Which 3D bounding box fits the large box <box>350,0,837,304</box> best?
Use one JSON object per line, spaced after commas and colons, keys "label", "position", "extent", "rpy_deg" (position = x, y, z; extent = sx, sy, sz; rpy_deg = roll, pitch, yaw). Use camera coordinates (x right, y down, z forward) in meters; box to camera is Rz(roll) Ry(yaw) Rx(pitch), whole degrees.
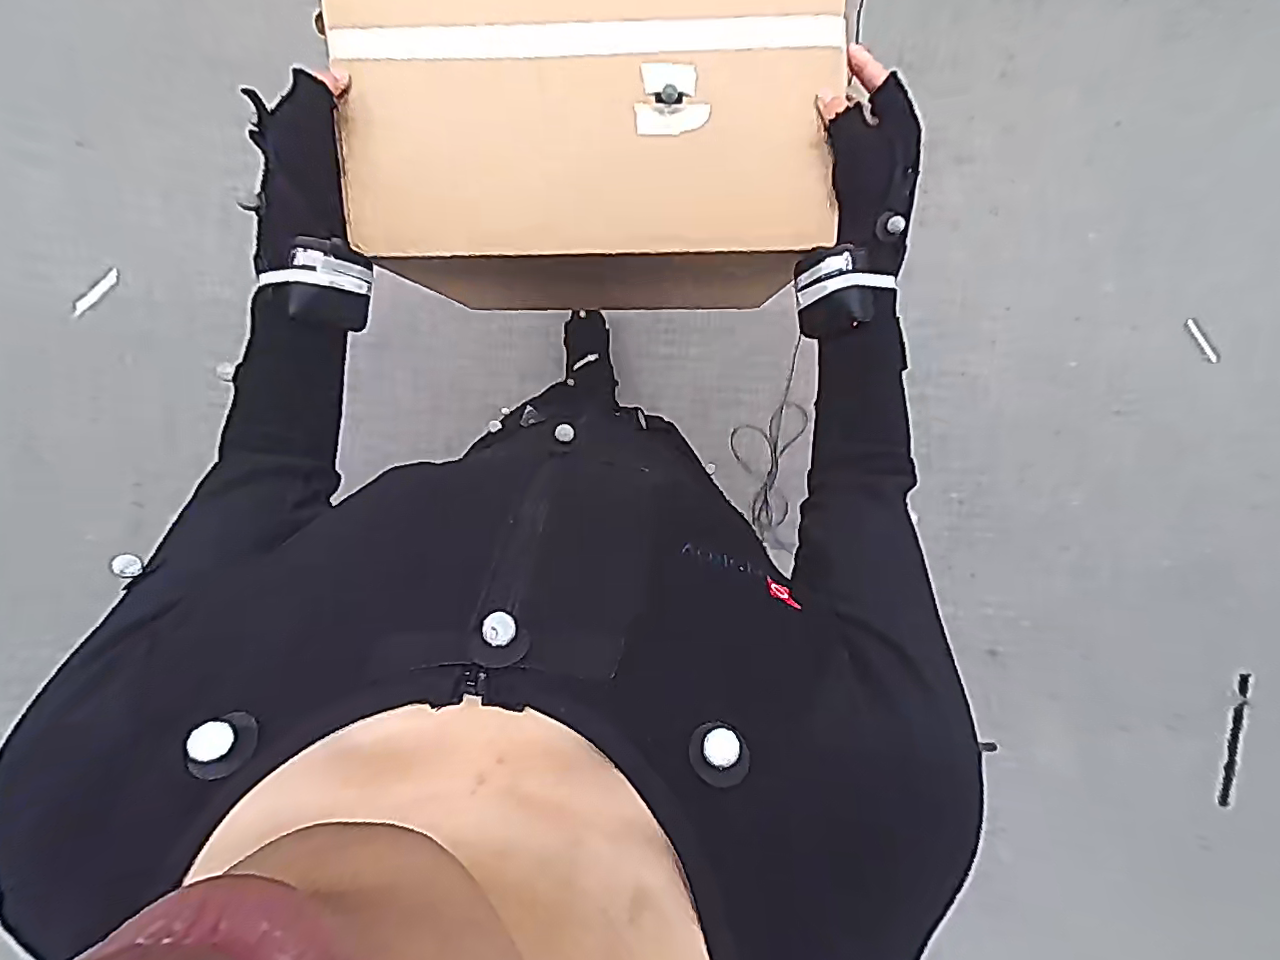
{"label": "large box", "position": [-0.039, -0.379, 0.590], "extent": [0.408, 0.320, 0.320], "rpy_deg": [0, 100, 0]}
